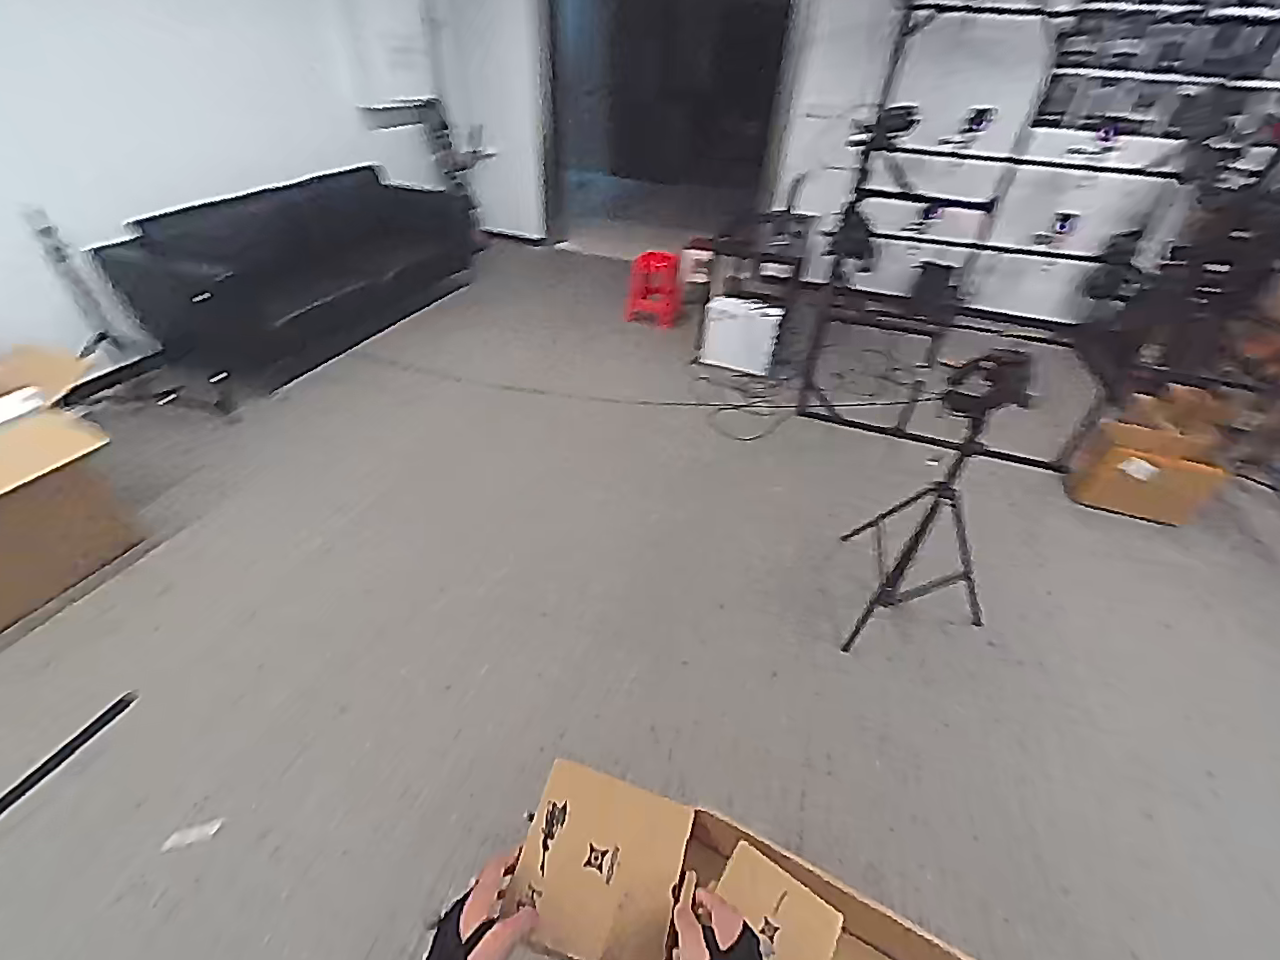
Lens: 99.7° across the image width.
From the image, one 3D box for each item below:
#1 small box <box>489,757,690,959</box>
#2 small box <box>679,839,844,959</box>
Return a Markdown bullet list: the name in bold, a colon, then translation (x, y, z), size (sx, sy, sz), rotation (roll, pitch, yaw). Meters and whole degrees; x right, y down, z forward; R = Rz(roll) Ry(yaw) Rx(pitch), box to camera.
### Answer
- **small box**: translation (-0.062, 0.461, 0.638), size (0.179, 0.176, 0.168), rotation (20, 47, 2)
- **small box**: translation (0.166, 0.682, 0.781), size (0.168, 0.176, 0.179), rotation (27, 42, 26)
